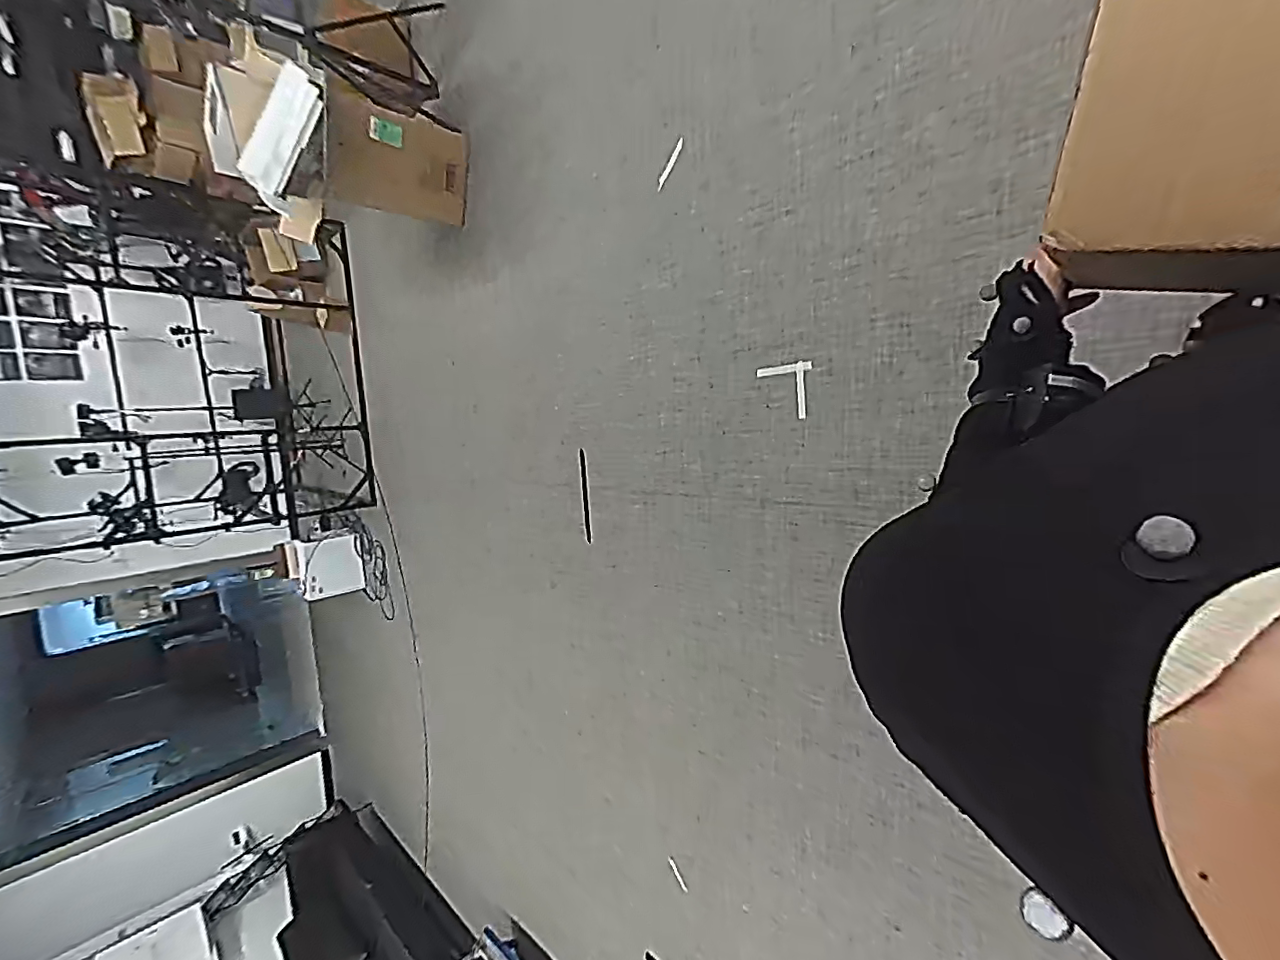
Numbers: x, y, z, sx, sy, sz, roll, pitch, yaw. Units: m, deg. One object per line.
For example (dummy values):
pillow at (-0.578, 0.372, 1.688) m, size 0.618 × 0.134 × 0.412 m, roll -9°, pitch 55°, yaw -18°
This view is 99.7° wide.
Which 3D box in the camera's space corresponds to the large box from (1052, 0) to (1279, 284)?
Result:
large box at (0.466, -0.262, 0.236) m, size 0.408 × 0.320 × 0.320 m, roll 16°, pitch 113°, yaw 36°
